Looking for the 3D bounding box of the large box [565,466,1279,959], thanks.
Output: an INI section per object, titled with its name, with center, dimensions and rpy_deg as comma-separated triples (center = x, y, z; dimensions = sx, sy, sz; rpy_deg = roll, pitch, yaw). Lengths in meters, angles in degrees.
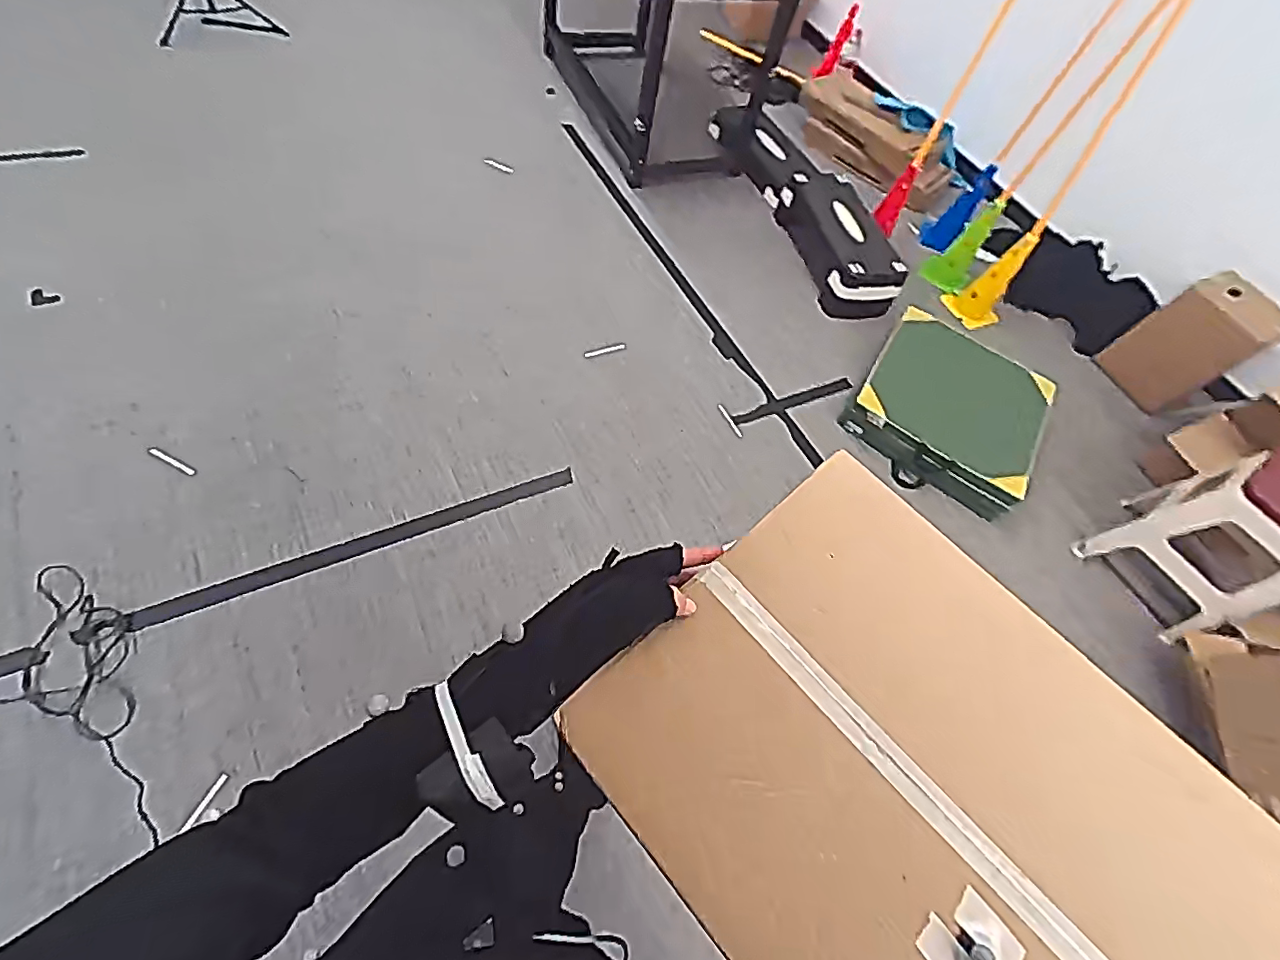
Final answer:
[large box]
center = 0.186, 0.268, 0.509
dimensions = 0.320, 0.320, 0.408
rpy_deg = -39, 72, -14
